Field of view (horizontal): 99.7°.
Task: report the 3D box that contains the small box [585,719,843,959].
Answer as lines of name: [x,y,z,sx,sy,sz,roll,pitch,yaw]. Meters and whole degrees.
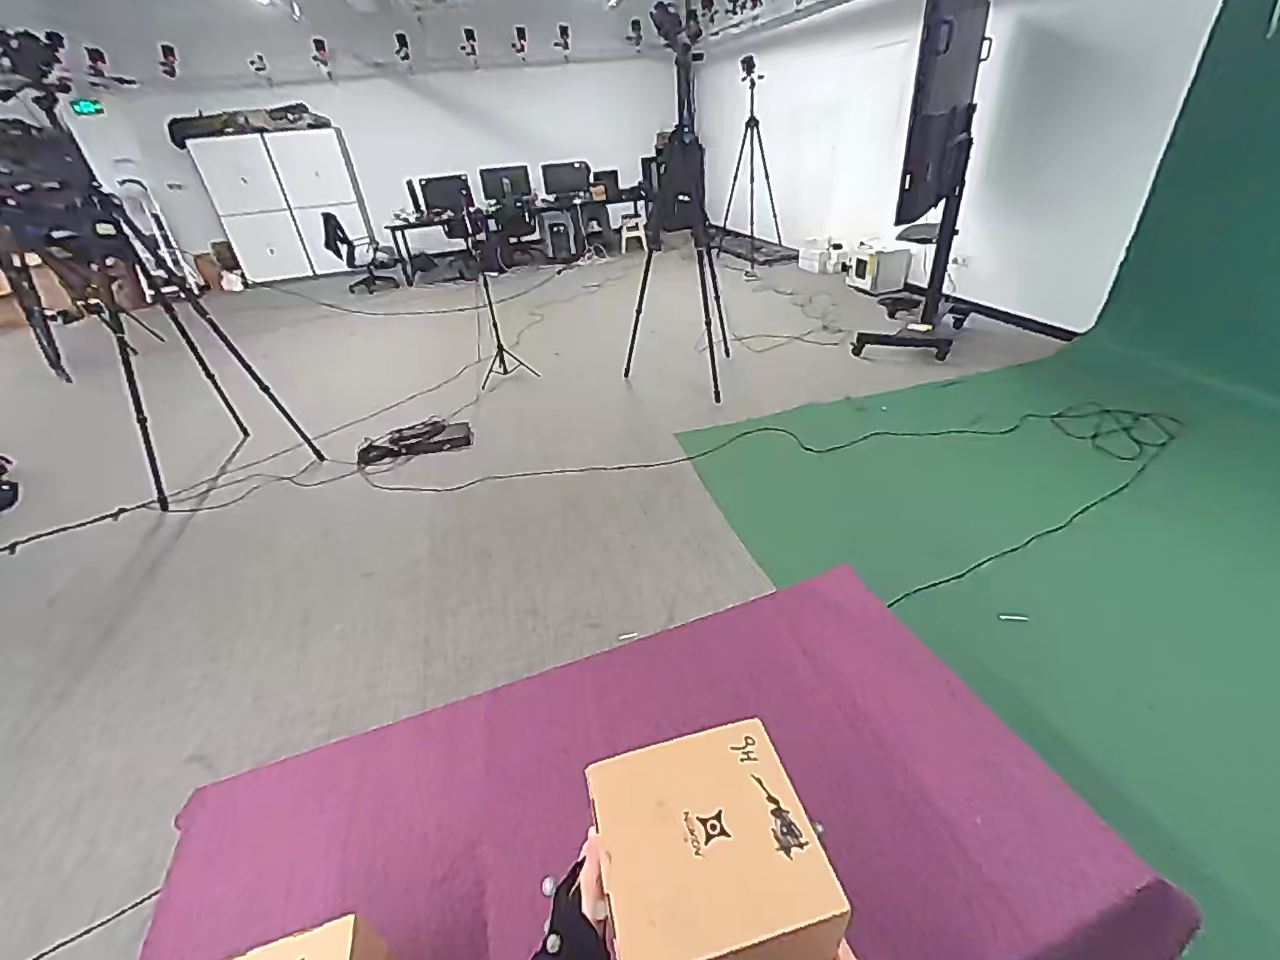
small box: [0.058,0.357,0.488,0.179,0.176,0.168,-12,33,-8]

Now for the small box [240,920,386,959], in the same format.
small box: [-0.336,0.577,0.514,0.168,0.176,0.179,-13,34,-12]
